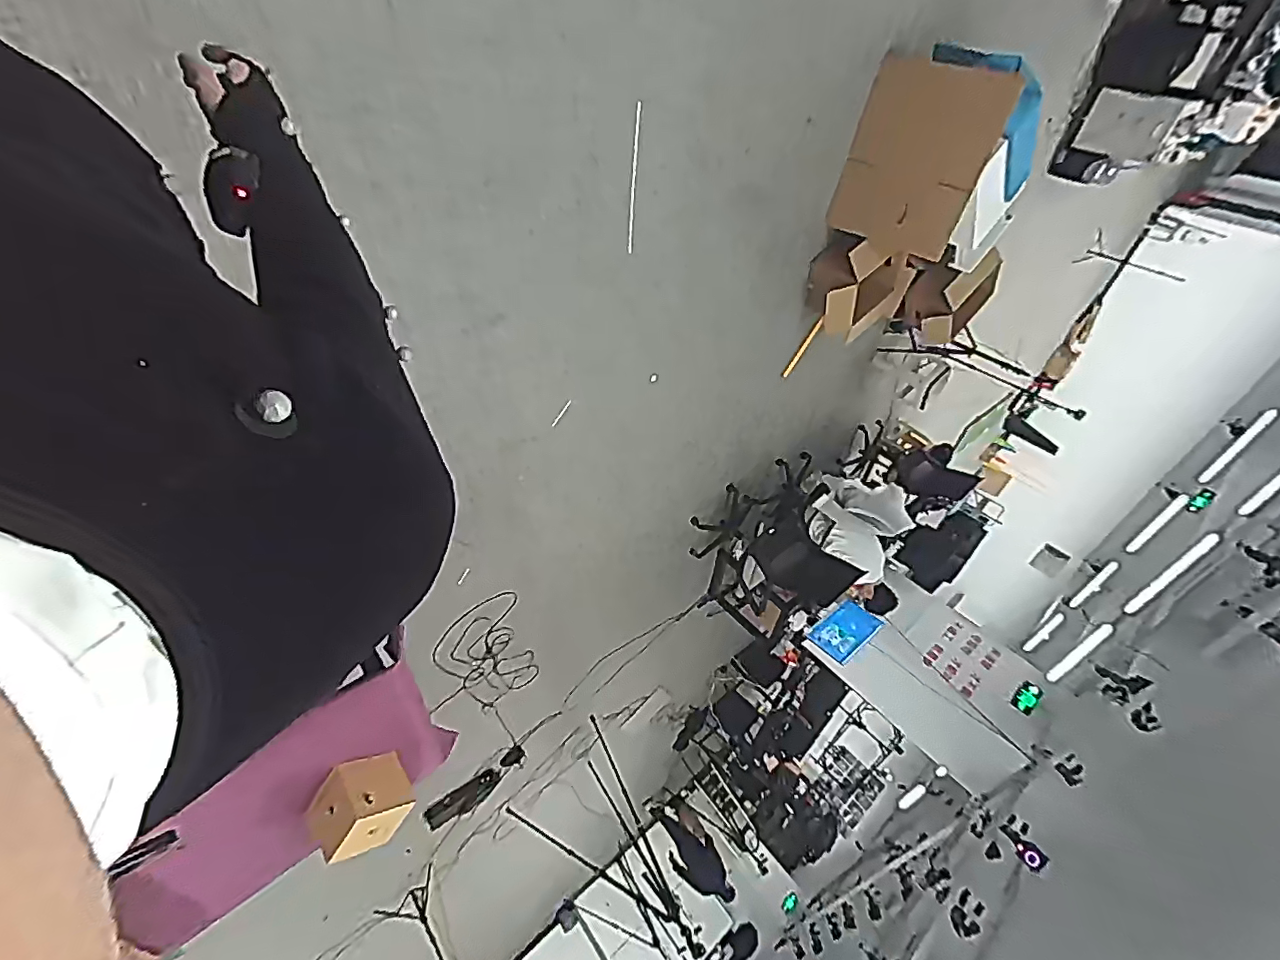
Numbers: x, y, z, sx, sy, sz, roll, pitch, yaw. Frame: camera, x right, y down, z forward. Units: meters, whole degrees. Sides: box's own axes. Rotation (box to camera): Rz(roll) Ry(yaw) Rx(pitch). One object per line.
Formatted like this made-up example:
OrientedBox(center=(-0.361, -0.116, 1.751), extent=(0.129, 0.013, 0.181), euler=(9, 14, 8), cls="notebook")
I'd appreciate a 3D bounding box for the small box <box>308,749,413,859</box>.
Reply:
OrientedBox(center=(-0.767, 0.875, 1.477), extent=(0.168, 0.176, 0.179), euler=(-55, 148, 9), cls="small box")
